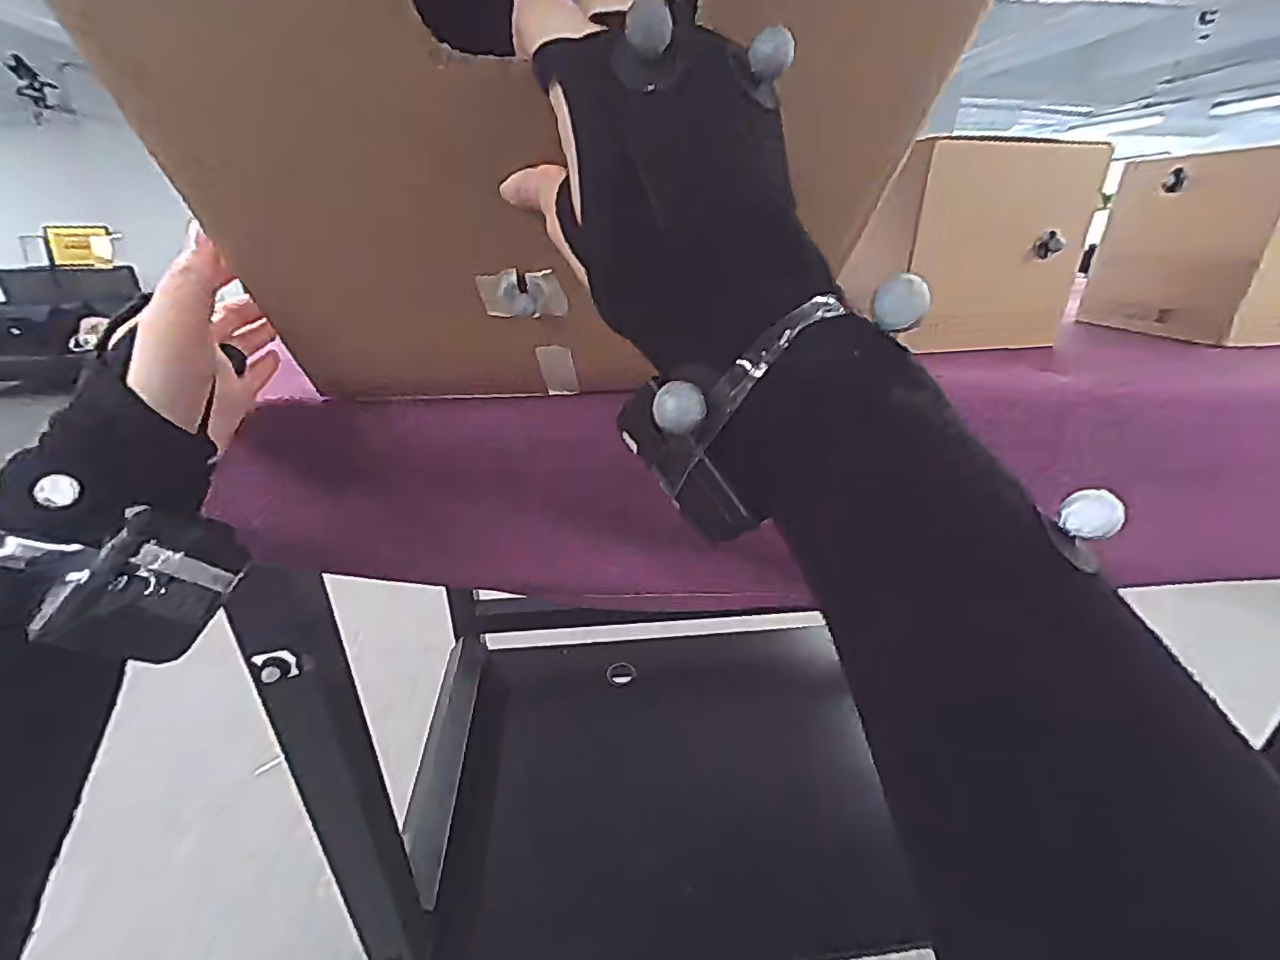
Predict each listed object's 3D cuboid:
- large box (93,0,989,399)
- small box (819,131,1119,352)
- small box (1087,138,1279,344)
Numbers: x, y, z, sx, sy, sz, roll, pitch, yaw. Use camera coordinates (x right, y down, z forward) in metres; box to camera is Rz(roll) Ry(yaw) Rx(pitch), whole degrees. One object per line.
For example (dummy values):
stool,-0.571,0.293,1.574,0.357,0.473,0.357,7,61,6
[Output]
large box,-0.051,-0.301,0.322,0.320,0.320,0.408,-2,62,-8
small box,0.289,-0.225,0.525,0.179,0.176,0.168,-6,25,-11
small box,0.612,-0.236,0.543,0.179,0.176,0.168,-2,24,-6
